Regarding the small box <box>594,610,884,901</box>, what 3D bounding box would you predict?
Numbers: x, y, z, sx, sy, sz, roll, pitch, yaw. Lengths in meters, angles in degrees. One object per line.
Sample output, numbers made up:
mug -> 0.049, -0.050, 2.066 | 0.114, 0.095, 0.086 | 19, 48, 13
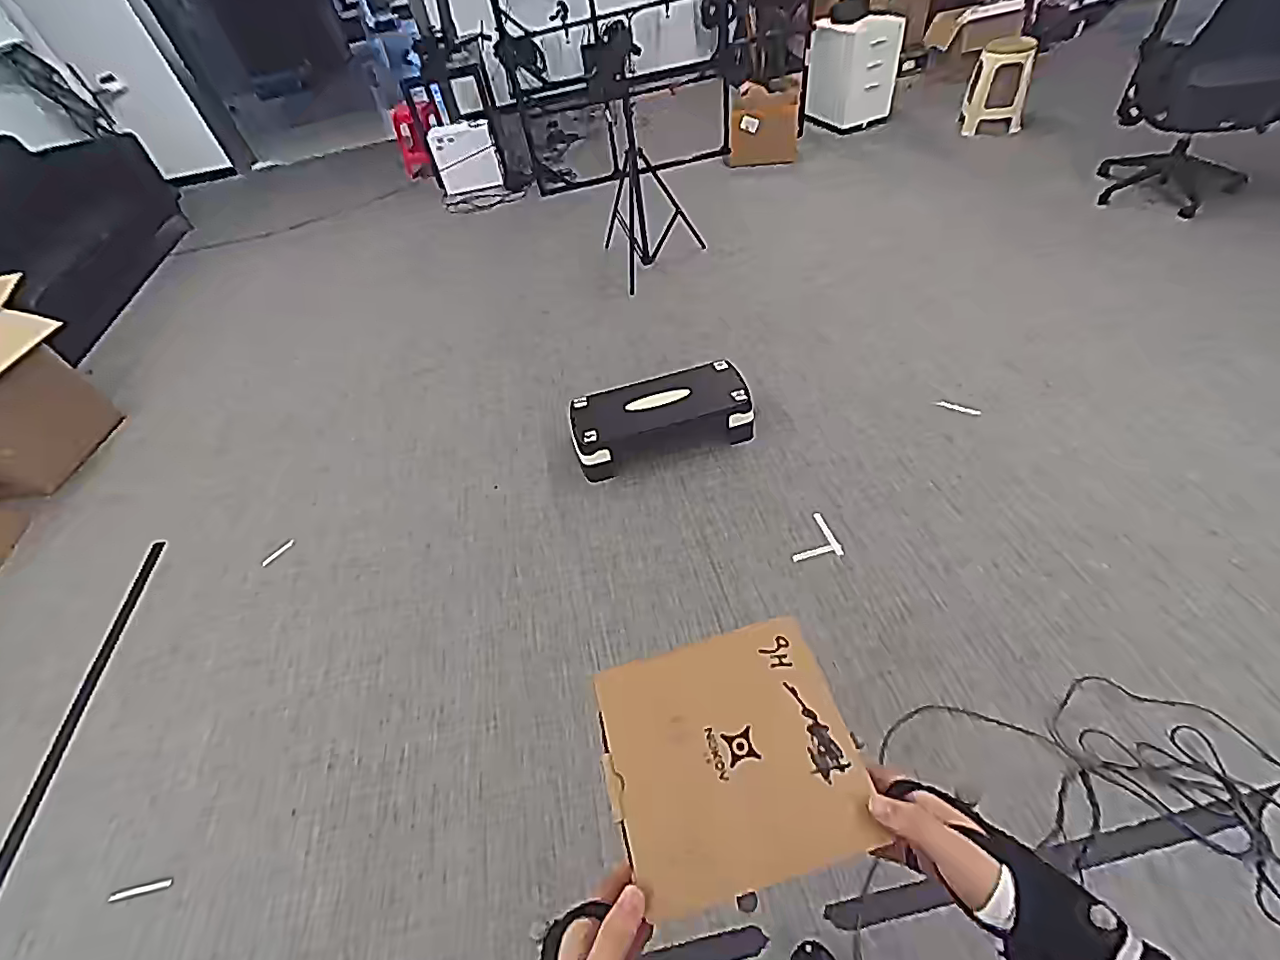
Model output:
small box -> 0.072, 0.240, 0.465 | 0.179, 0.176, 0.168 | -15, 53, -4

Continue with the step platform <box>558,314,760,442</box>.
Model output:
step platform -> 0.067, -0.359, 1.910 | 0.684, 0.204, 0.286 | -15, 48, -4
